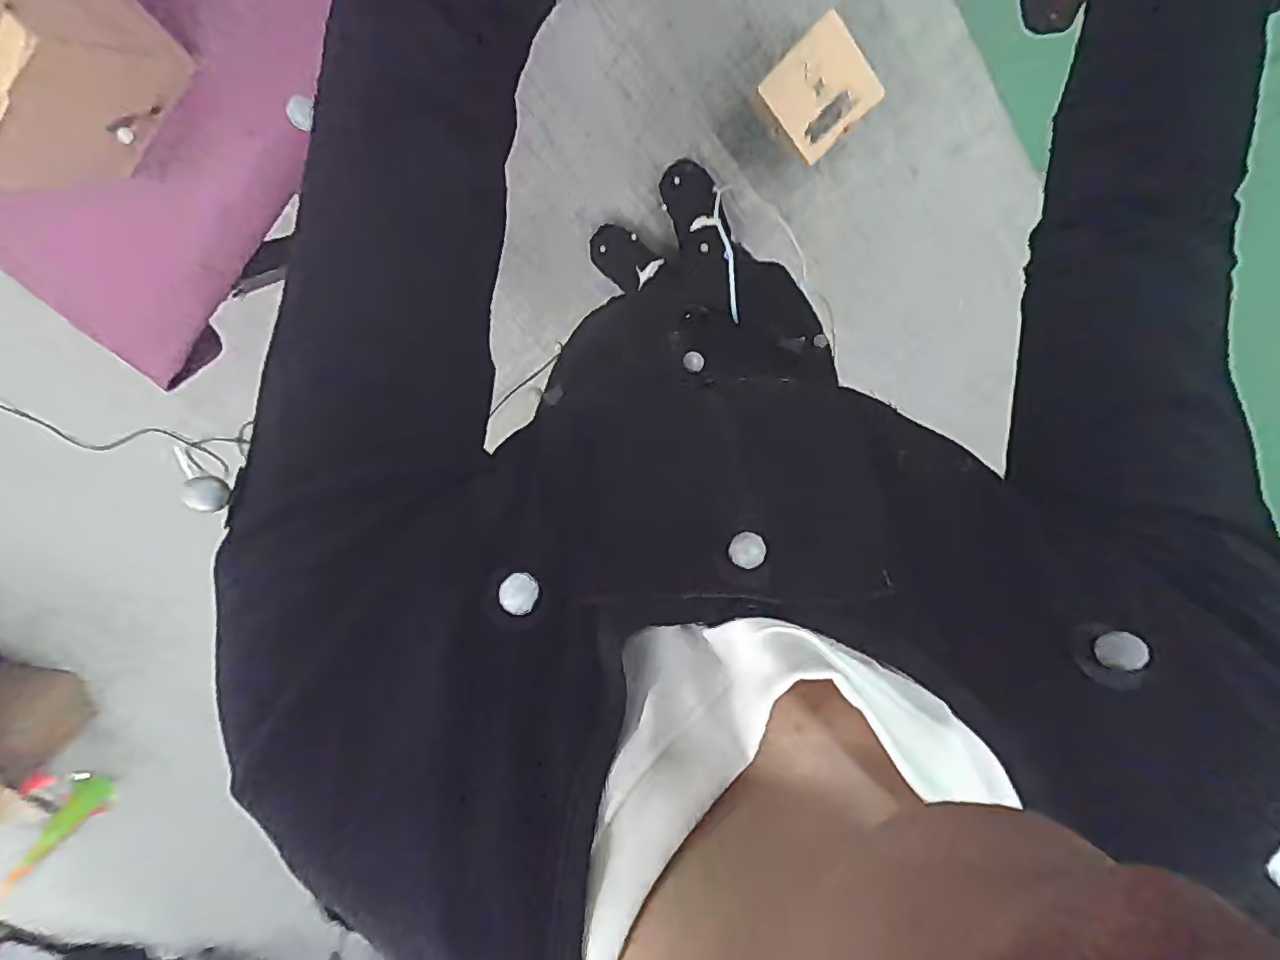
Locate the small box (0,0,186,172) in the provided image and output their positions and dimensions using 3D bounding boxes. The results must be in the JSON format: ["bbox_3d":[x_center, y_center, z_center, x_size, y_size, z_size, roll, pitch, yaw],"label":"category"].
[{"bbox_3d":[-0.558,-0.387,0.457,0.168,0.176,0.179,-33,116,20],"label":"small box"}]
